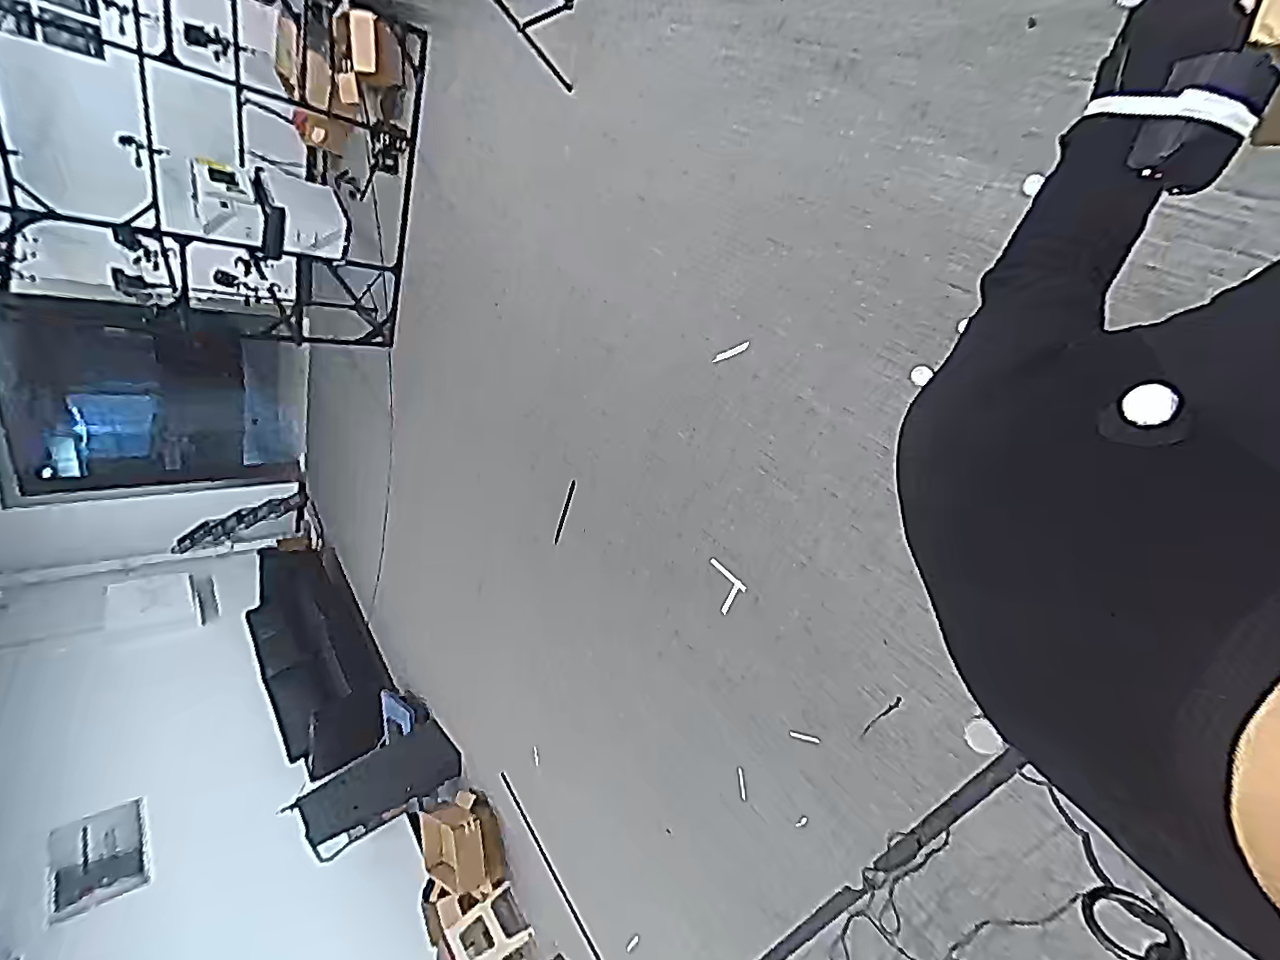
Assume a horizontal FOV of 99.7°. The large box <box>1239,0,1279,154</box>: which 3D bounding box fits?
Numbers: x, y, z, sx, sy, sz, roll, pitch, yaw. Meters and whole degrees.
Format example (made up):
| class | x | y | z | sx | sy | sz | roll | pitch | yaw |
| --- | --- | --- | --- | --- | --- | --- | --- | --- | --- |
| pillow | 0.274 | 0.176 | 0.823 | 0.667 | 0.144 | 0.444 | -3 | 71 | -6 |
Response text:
| class | x | y | z | sx | sy | sz | roll | pitch | yaw |
| --- | --- | --- | --- | --- | --- | --- | --- | --- | --- |
| large box | 0.631 | -0.365 | 0.253 | 0.408 | 0.320 | 0.320 | 28 | 122 | 40 |
